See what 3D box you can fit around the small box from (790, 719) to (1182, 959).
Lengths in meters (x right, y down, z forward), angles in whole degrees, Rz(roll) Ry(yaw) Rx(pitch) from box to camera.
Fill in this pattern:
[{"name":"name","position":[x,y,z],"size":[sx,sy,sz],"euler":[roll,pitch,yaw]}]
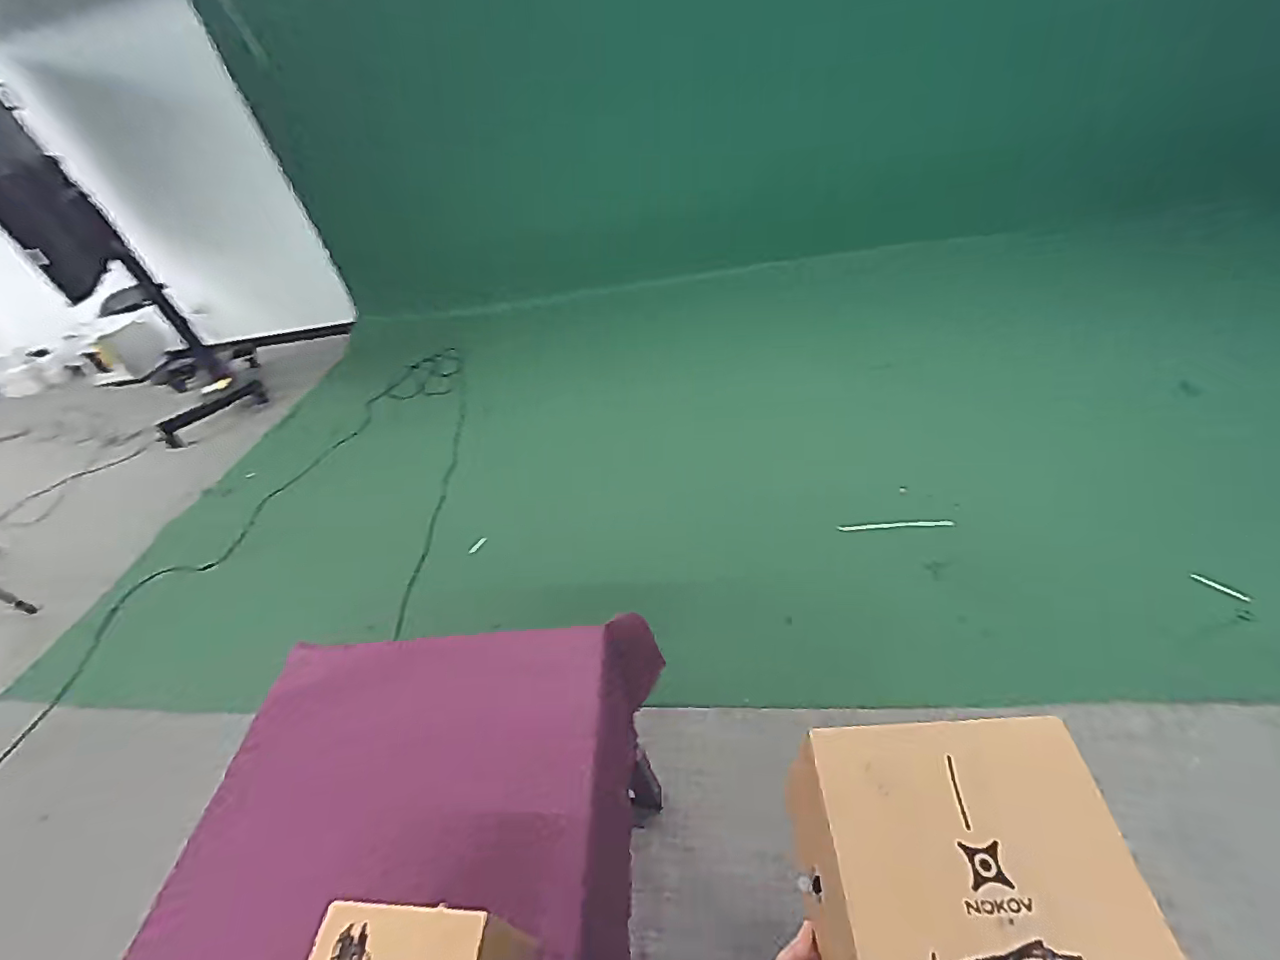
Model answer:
[{"name":"small box","position":[0.202,0.278,0.360],"size":[0.168,0.176,0.179],"euler":[-5,48,4]}]
